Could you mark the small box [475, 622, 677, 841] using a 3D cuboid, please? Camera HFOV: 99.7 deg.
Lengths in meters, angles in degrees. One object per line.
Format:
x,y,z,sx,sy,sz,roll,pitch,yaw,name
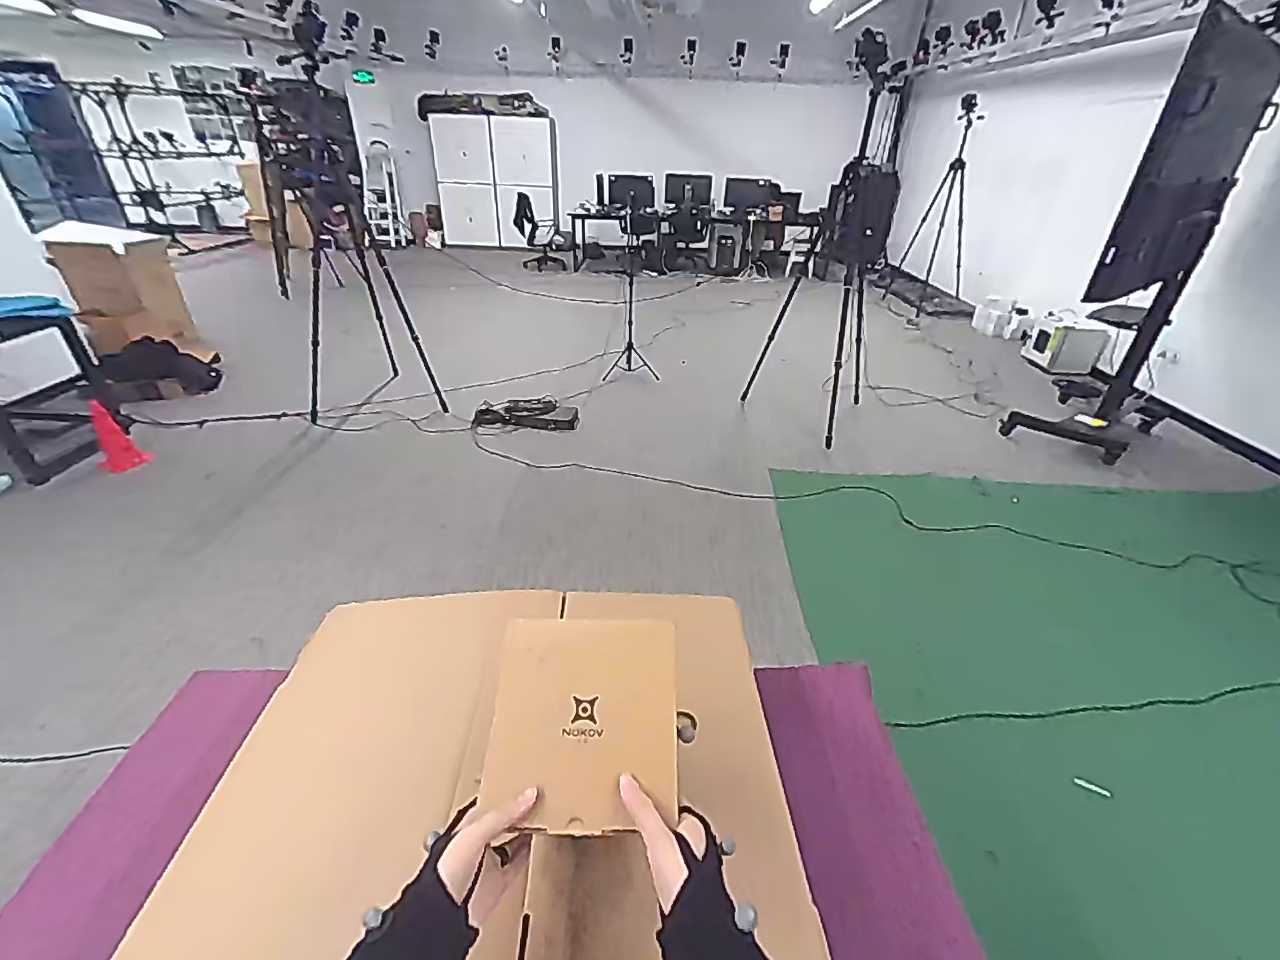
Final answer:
-0.048,0.253,0.544,0.168,0.176,0.179,0,60,2,small box
